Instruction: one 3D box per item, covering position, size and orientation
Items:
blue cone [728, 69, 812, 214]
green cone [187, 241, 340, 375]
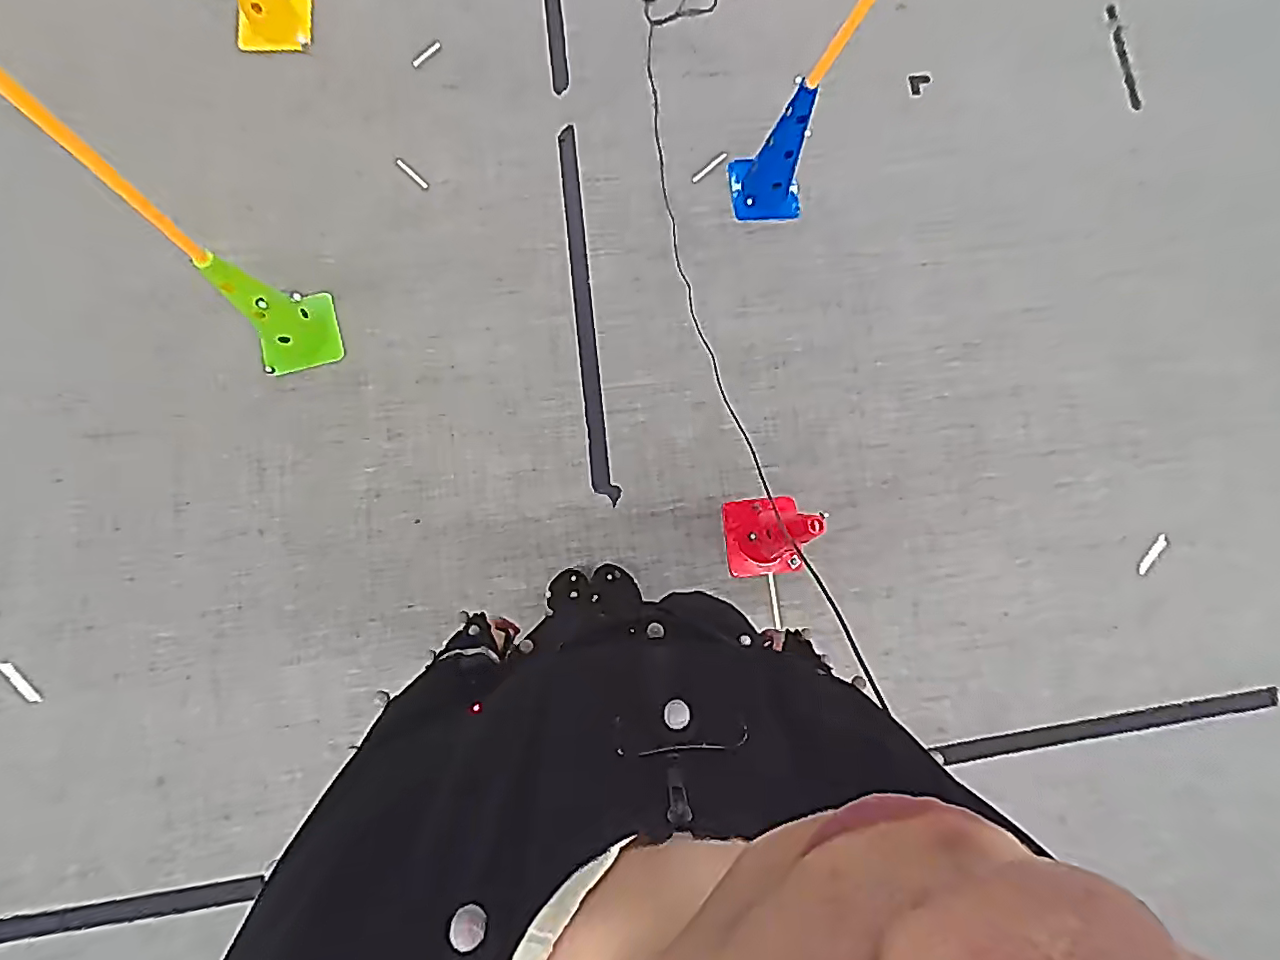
[{"bbox_3d":[0.373,-0.901,1.439,0.193,0.380,0.192,-4,80,-5],"label":"blue cone"},{"bbox_3d":[-0.891,-0.421,1.255,0.200,0.368,0.202,-17,80,-7],"label":"green cone"}]
